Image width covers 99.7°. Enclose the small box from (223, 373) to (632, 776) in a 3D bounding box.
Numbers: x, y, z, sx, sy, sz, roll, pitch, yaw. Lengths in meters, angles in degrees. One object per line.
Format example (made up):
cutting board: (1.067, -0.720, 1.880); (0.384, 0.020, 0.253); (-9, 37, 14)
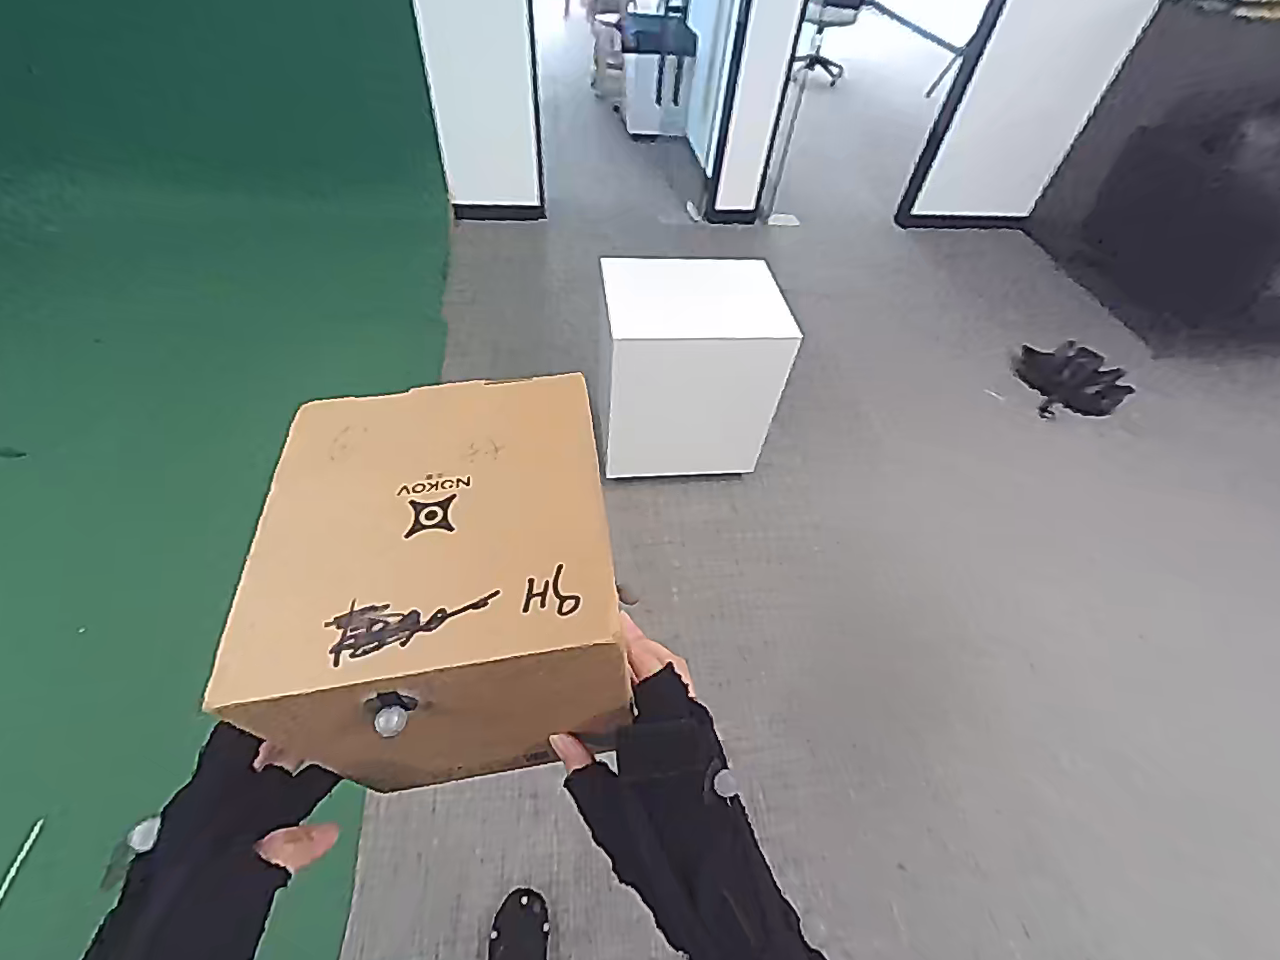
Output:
small box: (-0.099, 0.060, 0.338); (0.168, 0.176, 0.179); (-8, 50, -4)
